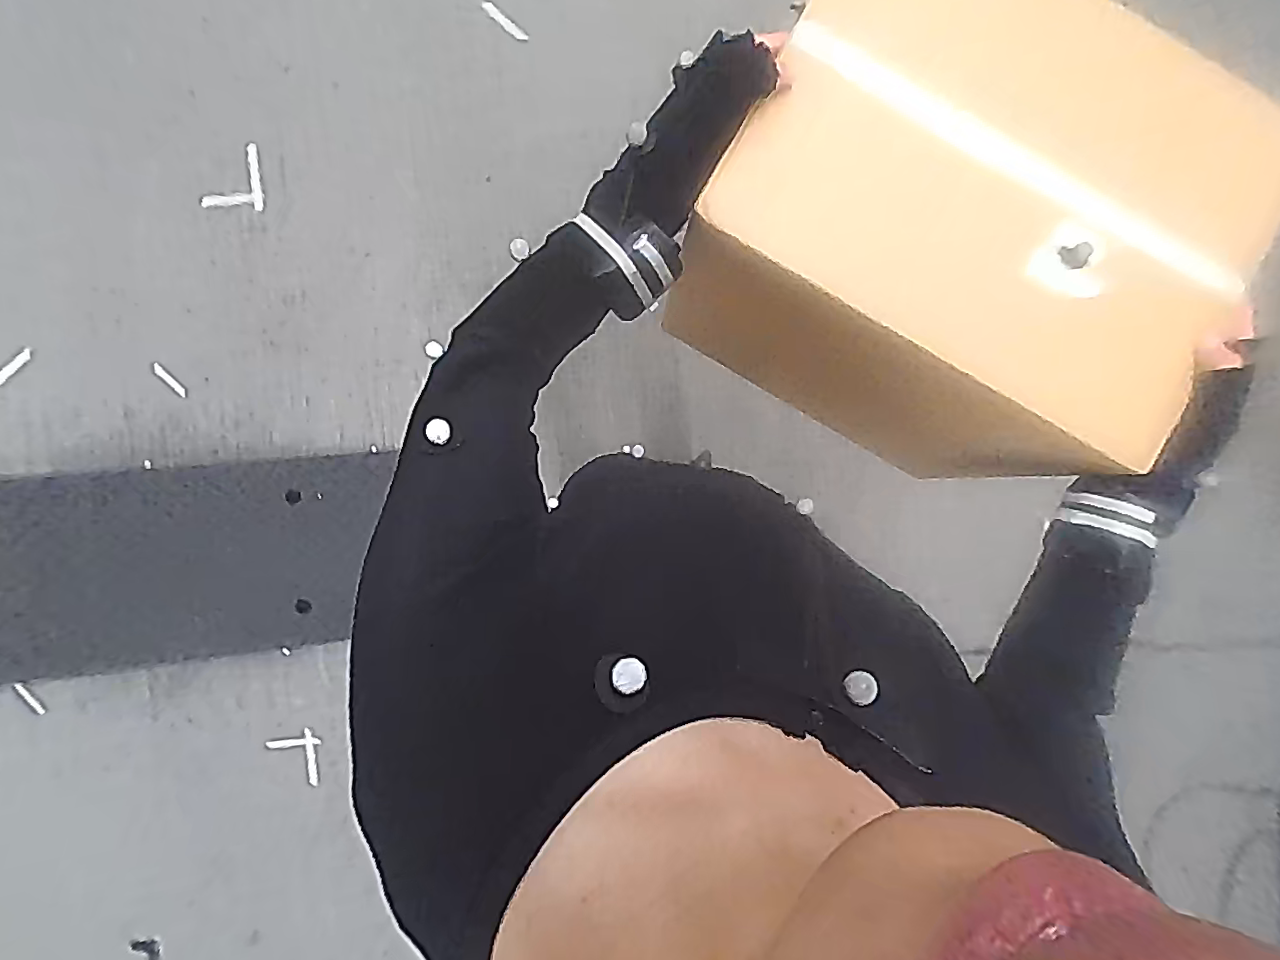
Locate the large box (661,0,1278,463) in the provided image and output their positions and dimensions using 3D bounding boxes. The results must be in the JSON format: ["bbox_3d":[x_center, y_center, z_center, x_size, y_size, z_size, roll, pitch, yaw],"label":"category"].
[{"bbox_3d":[0.275,-0.247,0.581,0.408,0.320,0.320,28,89,-2],"label":"large box"}]
